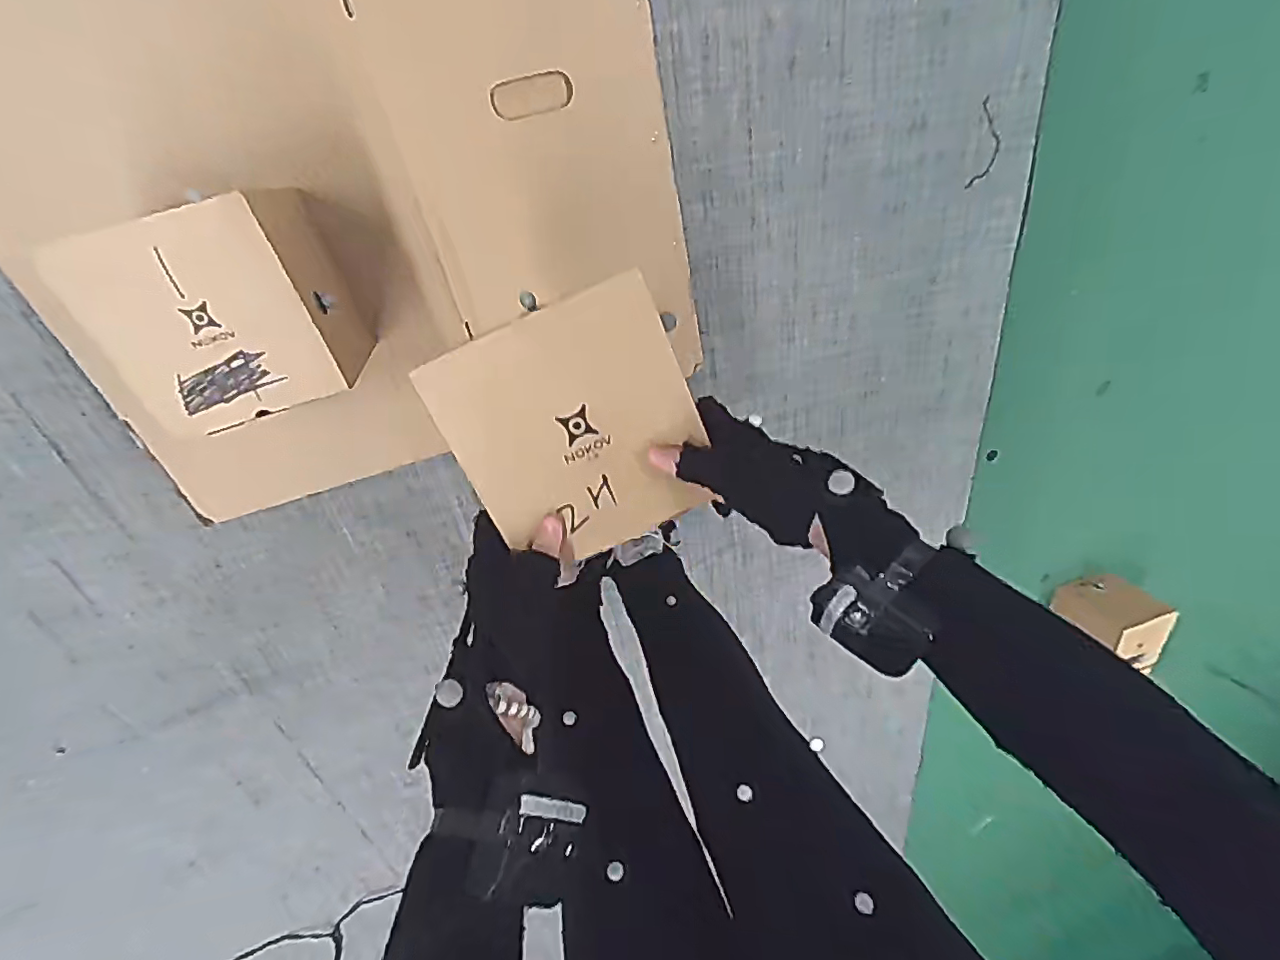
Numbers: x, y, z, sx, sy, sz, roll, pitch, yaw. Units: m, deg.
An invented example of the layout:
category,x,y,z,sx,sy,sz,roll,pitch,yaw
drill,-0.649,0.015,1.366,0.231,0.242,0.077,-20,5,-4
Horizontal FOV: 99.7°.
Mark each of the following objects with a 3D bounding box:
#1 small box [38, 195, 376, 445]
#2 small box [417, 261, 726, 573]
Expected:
category,x,y,z,sx,sy,sz,roll,pitch,yaw
small box,-0.385,-0.165,0.531,0.168,0.176,0.179,-20,121,-6
small box,-0.054,-0.061,0.451,0.168,0.176,0.179,-25,112,-1
